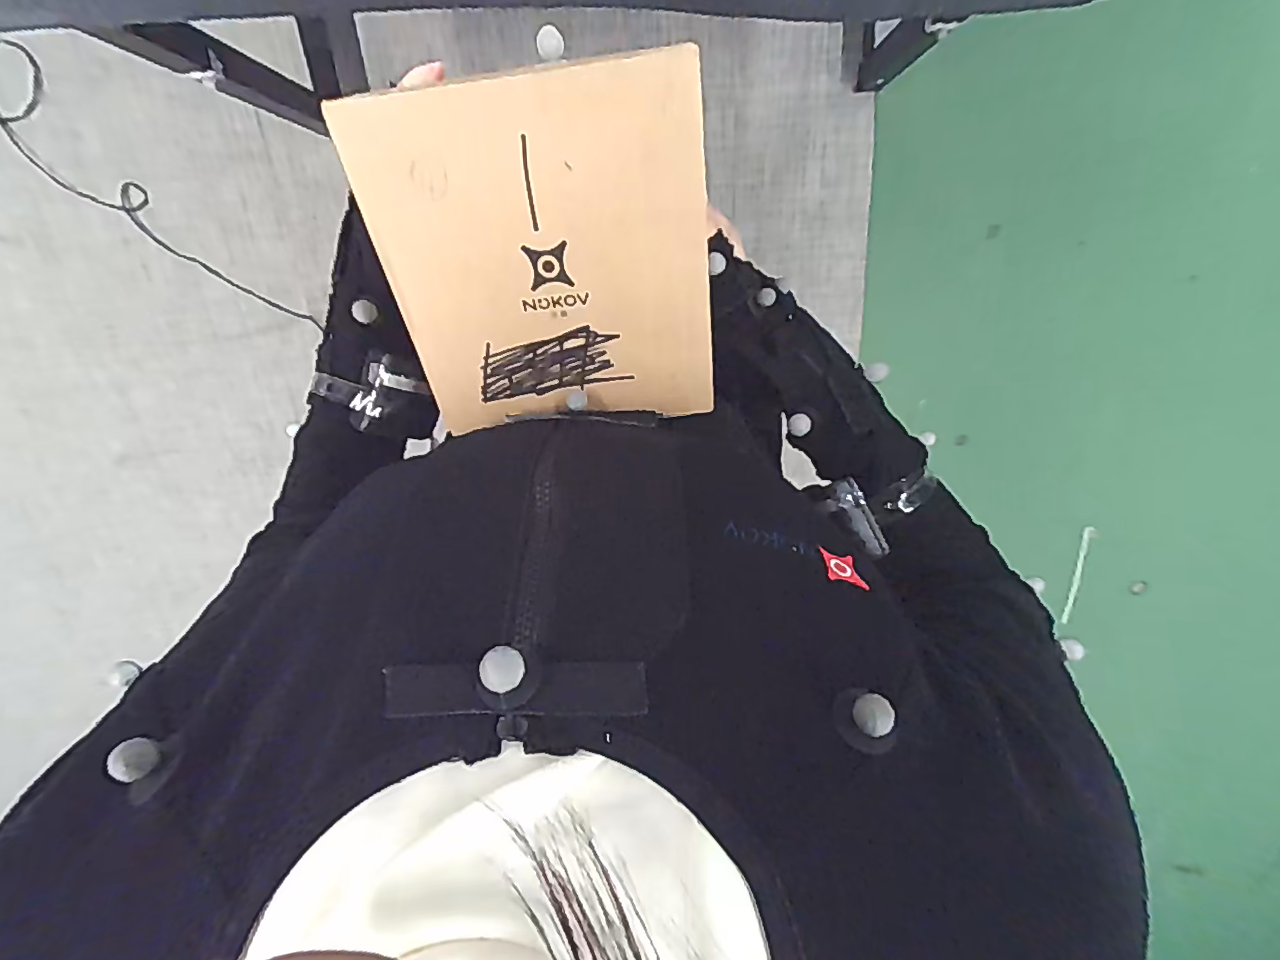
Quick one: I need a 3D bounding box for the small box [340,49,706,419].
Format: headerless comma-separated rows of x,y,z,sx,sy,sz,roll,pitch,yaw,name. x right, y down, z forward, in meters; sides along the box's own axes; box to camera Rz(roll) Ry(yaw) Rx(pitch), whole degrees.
-0.044,-0.160,0.349,0.168,0.176,0.179,-4,128,4,small box
